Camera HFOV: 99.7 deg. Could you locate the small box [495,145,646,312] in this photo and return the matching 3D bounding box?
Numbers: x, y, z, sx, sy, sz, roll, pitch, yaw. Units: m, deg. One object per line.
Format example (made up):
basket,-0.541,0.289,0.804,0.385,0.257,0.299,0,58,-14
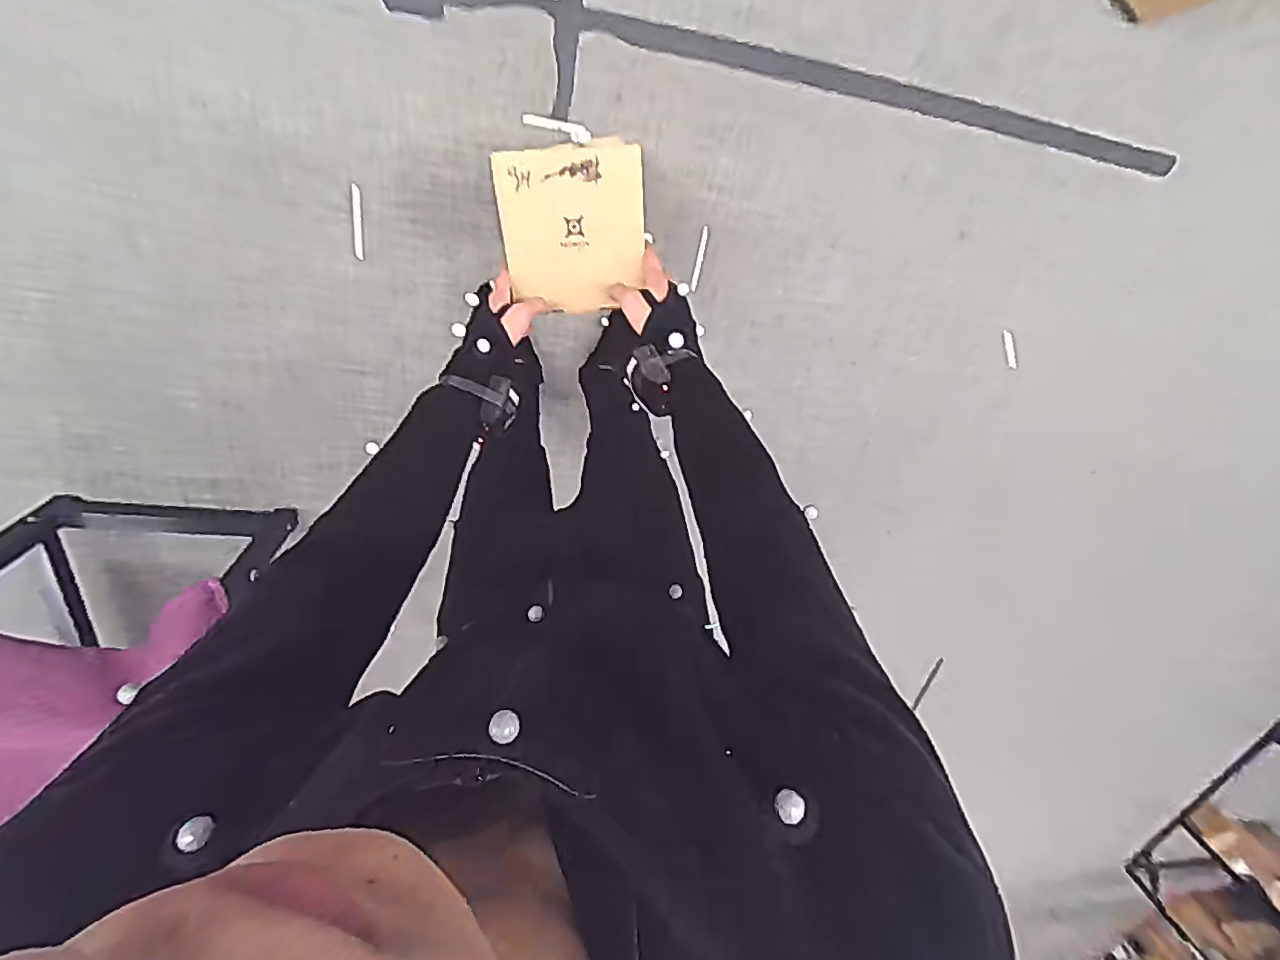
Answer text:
small box,-0.077,-0.328,0.698,0.168,0.176,0.179,-3,120,-1
